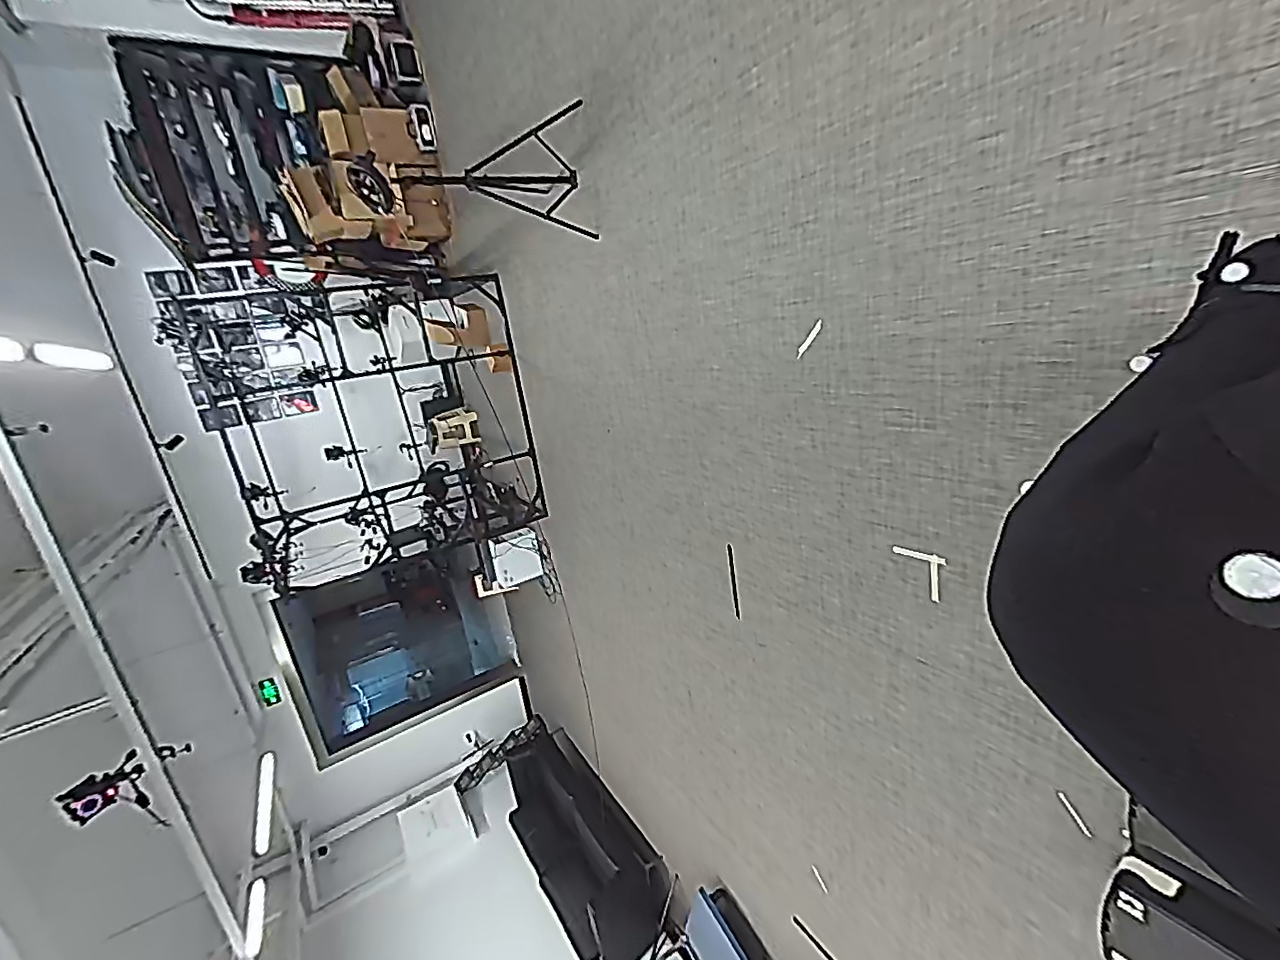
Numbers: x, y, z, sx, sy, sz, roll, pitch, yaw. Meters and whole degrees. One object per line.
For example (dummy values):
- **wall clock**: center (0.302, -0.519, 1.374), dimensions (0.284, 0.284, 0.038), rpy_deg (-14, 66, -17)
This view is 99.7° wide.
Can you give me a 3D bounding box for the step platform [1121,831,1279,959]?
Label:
- **step platform**: center (1.403, 1.063, 1.064), dimensions (0.684, 0.204, 0.286), rpy_deg (17, 120, 58)
